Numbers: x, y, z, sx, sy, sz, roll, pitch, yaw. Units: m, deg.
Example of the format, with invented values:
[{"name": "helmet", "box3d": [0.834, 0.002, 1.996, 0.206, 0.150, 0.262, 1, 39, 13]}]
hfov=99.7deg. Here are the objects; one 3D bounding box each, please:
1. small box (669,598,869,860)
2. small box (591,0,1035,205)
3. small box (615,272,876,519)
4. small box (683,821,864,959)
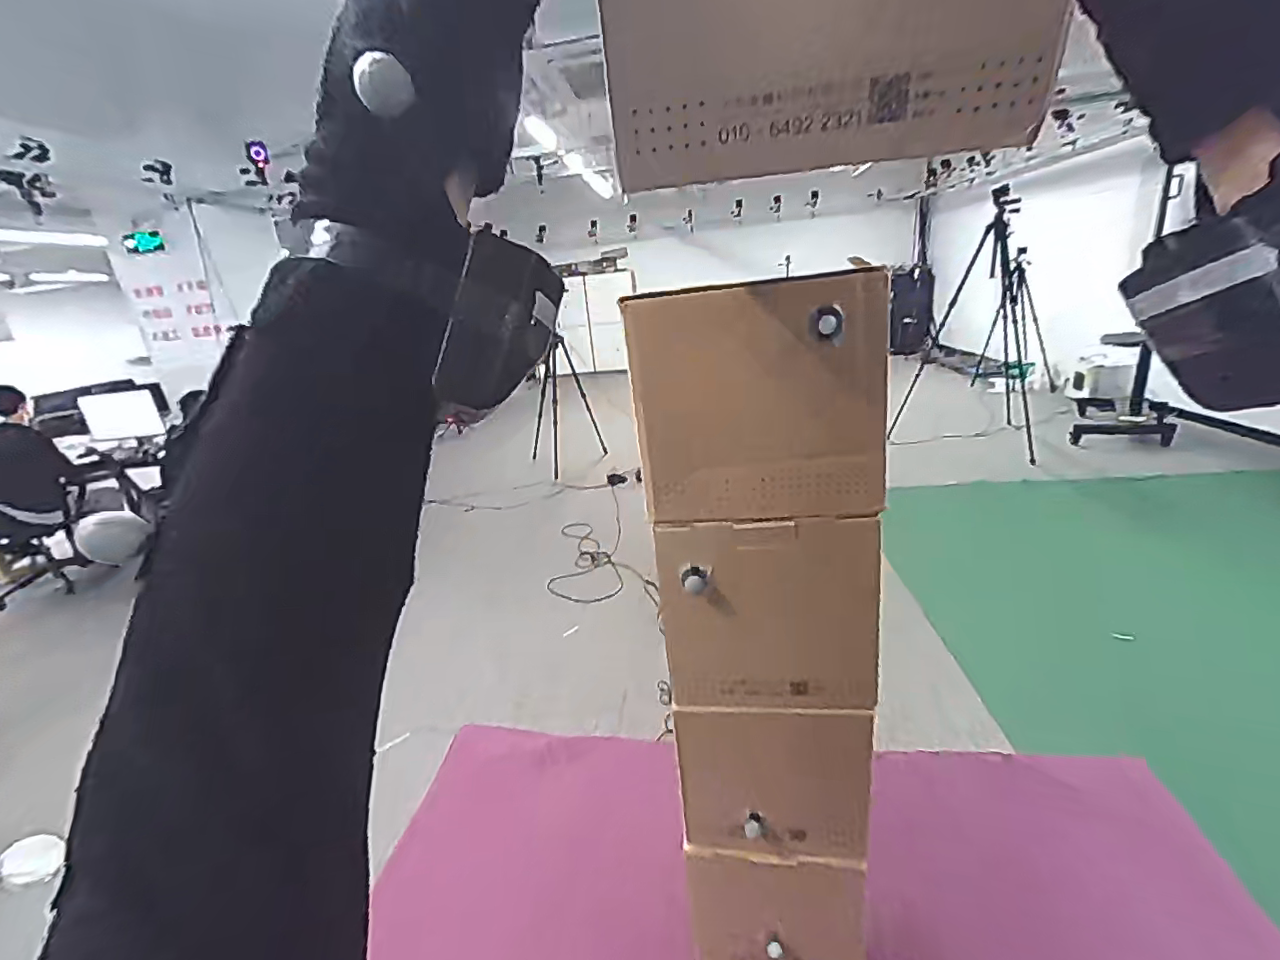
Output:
[{"name": "small box", "box3d": [0.126, 0.238, 0.552, 0.168, 0.176, 0.179, -3, 19, 11]}, {"name": "small box", "box3d": [0.065, -0.233, 0.262, 0.168, 0.176, 0.179, -4, 28, 5]}, {"name": "small box", "box3d": [0.088, -0.071, 0.454, 0.179, 0.176, 0.168, -3, 18, 10]}, {"name": "small box", "box3d": [0.142, 0.393, 0.601, 0.168, 0.176, 0.179, -3, 20, 11]}]
